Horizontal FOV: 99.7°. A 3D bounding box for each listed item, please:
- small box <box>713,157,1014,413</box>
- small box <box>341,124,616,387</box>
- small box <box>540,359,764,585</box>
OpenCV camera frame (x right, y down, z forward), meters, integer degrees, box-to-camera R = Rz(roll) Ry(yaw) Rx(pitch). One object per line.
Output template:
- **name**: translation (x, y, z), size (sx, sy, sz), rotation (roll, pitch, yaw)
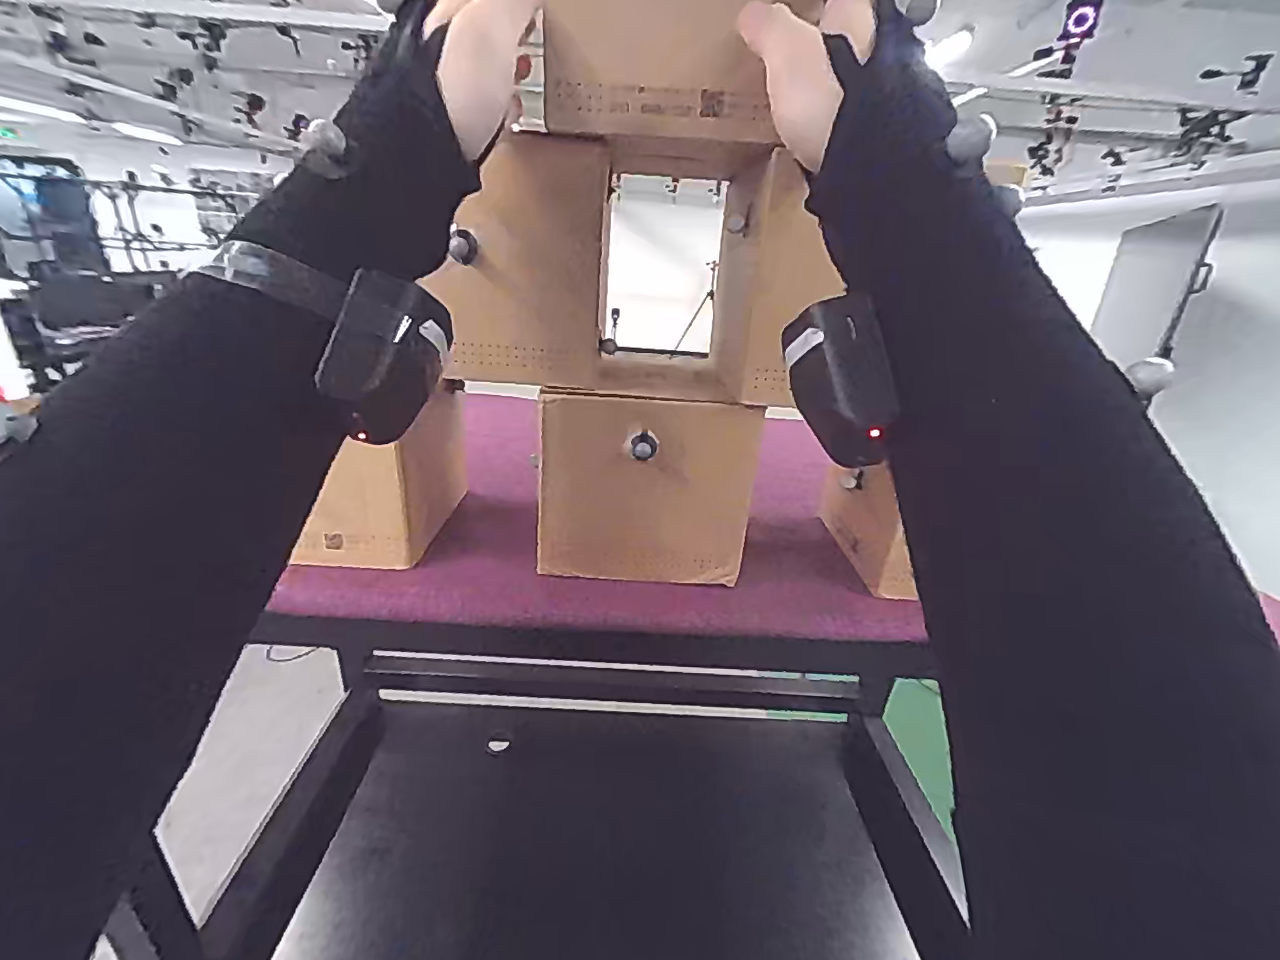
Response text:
- **small box**: translation (0.159, -0.158, 0.454), size (0.168, 0.176, 0.179), rotation (2, 22, -2)
- **small box**: translation (-0.114, -0.177, 0.454), size (0.179, 0.176, 0.168), rotation (3, 22, -3)
- **small box**: translation (0.006, -0.015, 0.513), size (0.179, 0.176, 0.168), rotation (4, 22, -1)
